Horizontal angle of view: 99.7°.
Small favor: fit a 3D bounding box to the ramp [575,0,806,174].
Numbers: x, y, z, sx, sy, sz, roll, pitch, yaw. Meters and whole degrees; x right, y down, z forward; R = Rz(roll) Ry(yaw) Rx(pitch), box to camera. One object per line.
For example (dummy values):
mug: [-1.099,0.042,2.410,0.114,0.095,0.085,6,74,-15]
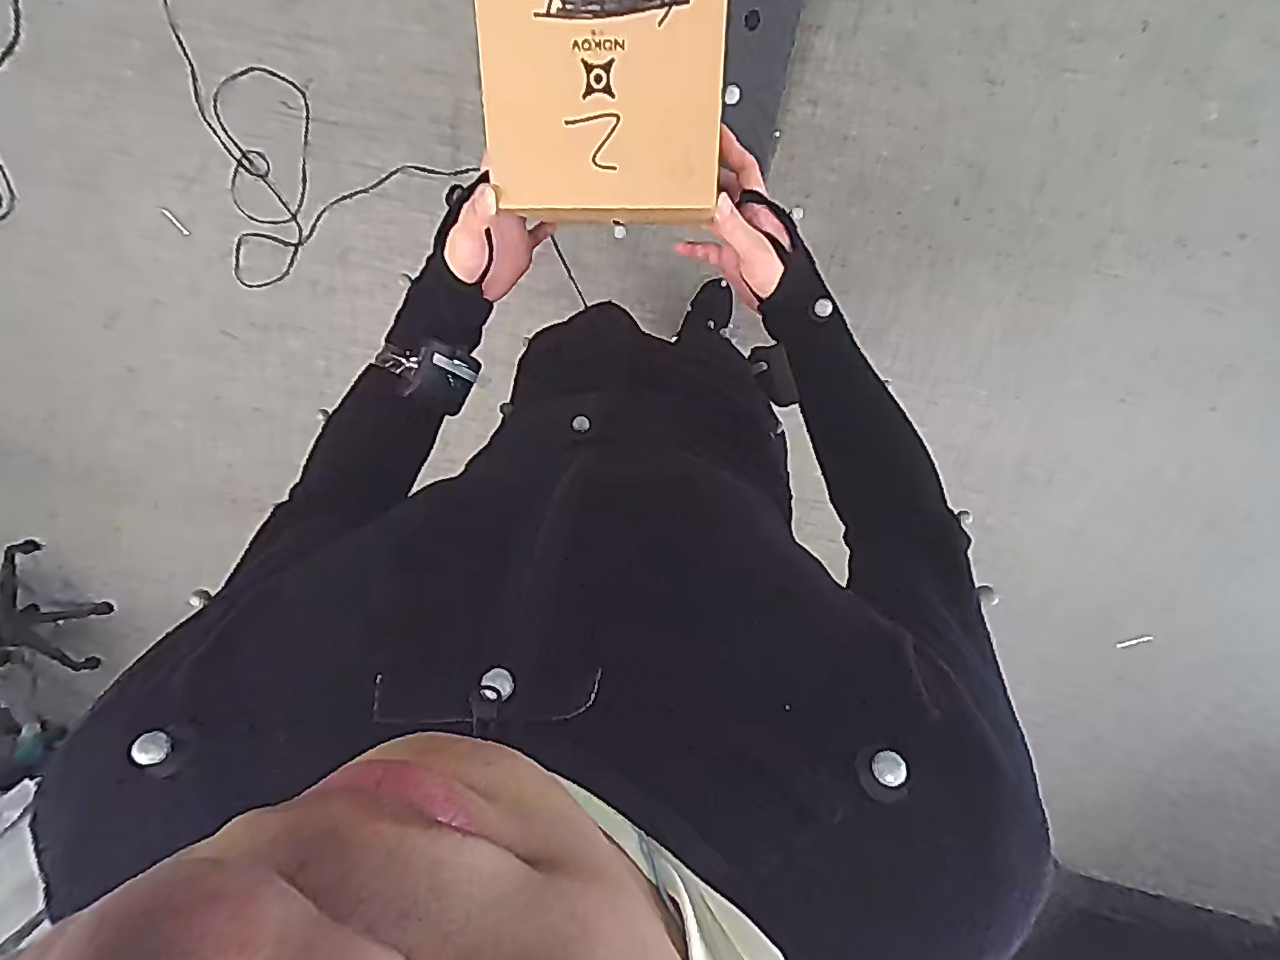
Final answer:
ramp: [0.138,-1.207,1.071,0.509,0.206,0.991,10,114,4]
